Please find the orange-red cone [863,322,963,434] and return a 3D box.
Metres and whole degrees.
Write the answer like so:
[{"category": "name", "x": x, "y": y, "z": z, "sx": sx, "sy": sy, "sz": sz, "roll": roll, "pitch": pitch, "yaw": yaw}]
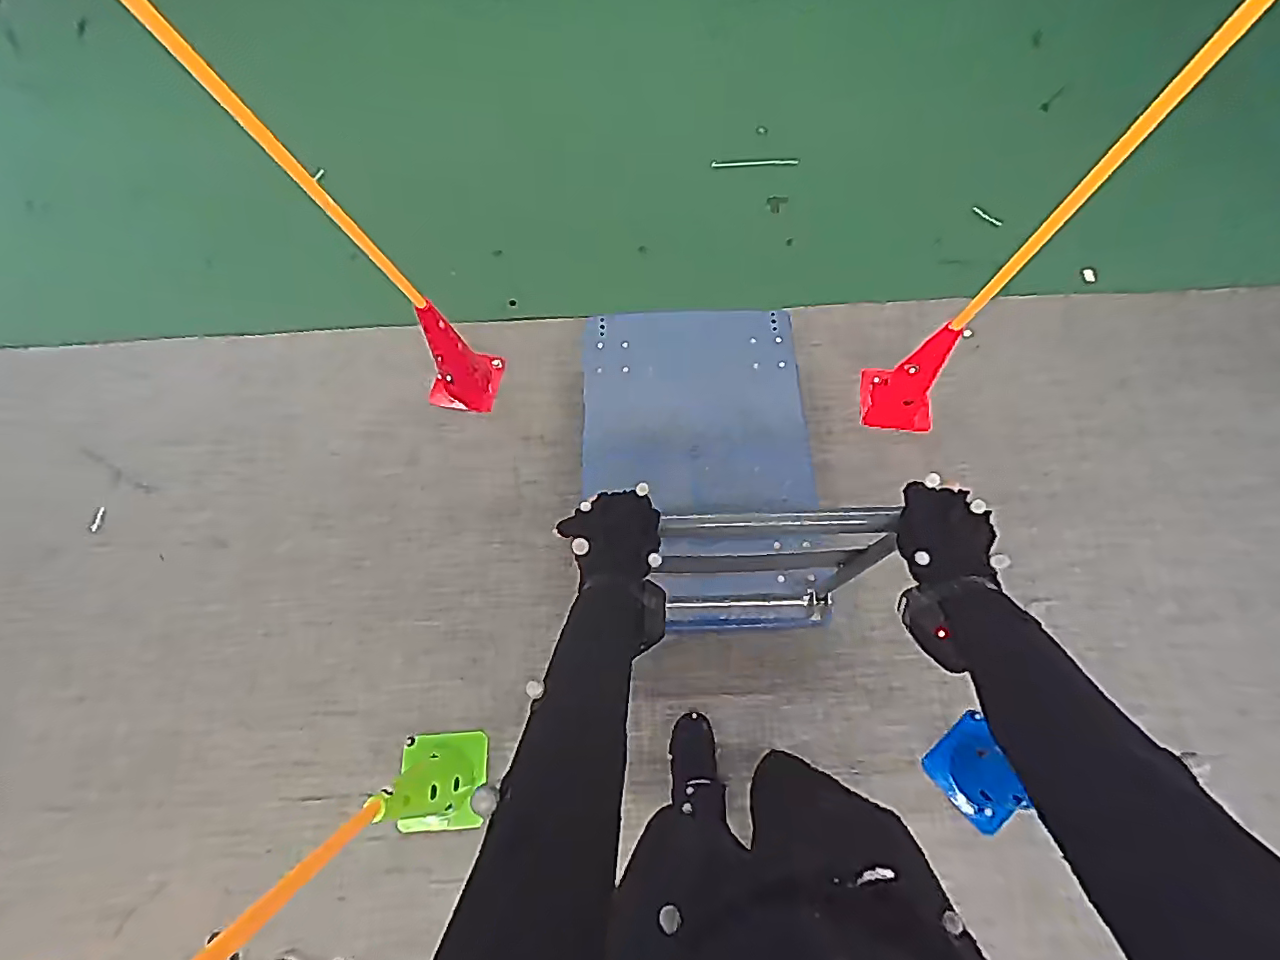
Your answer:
[{"category": "orange-red cone", "x": 0.759, "y": -0.294, "z": 1.449, "sx": 0.198, "sy": 0.360, "sz": 0.199, "roll": 7, "pitch": 69, "yaw": 5}]
